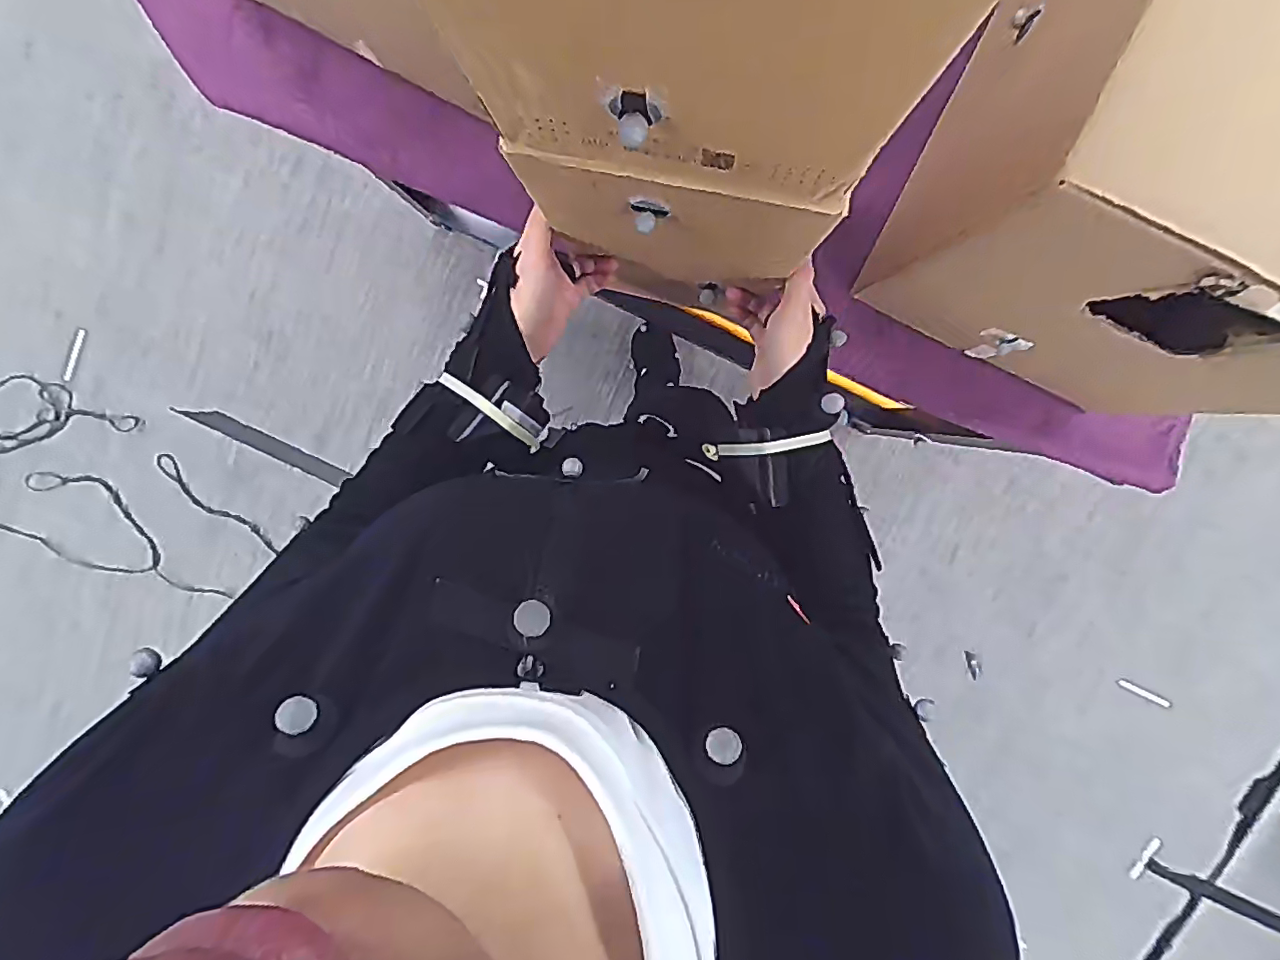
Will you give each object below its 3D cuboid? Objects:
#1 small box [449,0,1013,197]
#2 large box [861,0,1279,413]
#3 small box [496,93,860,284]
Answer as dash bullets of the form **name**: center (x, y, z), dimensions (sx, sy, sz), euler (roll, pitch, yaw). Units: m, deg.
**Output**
- **small box**: center (0.026, -0.217, 0.163), dimensions (0.168, 0.176, 0.179), euler (11, 99, 2)
- **large box**: center (0.449, -0.294, 0.426), dimensions (0.320, 0.320, 0.408), euler (25, 96, -3)
- **small box**: center (0.036, -0.230, 0.325), dimensions (0.179, 0.176, 0.168), euler (12, 99, 1)
